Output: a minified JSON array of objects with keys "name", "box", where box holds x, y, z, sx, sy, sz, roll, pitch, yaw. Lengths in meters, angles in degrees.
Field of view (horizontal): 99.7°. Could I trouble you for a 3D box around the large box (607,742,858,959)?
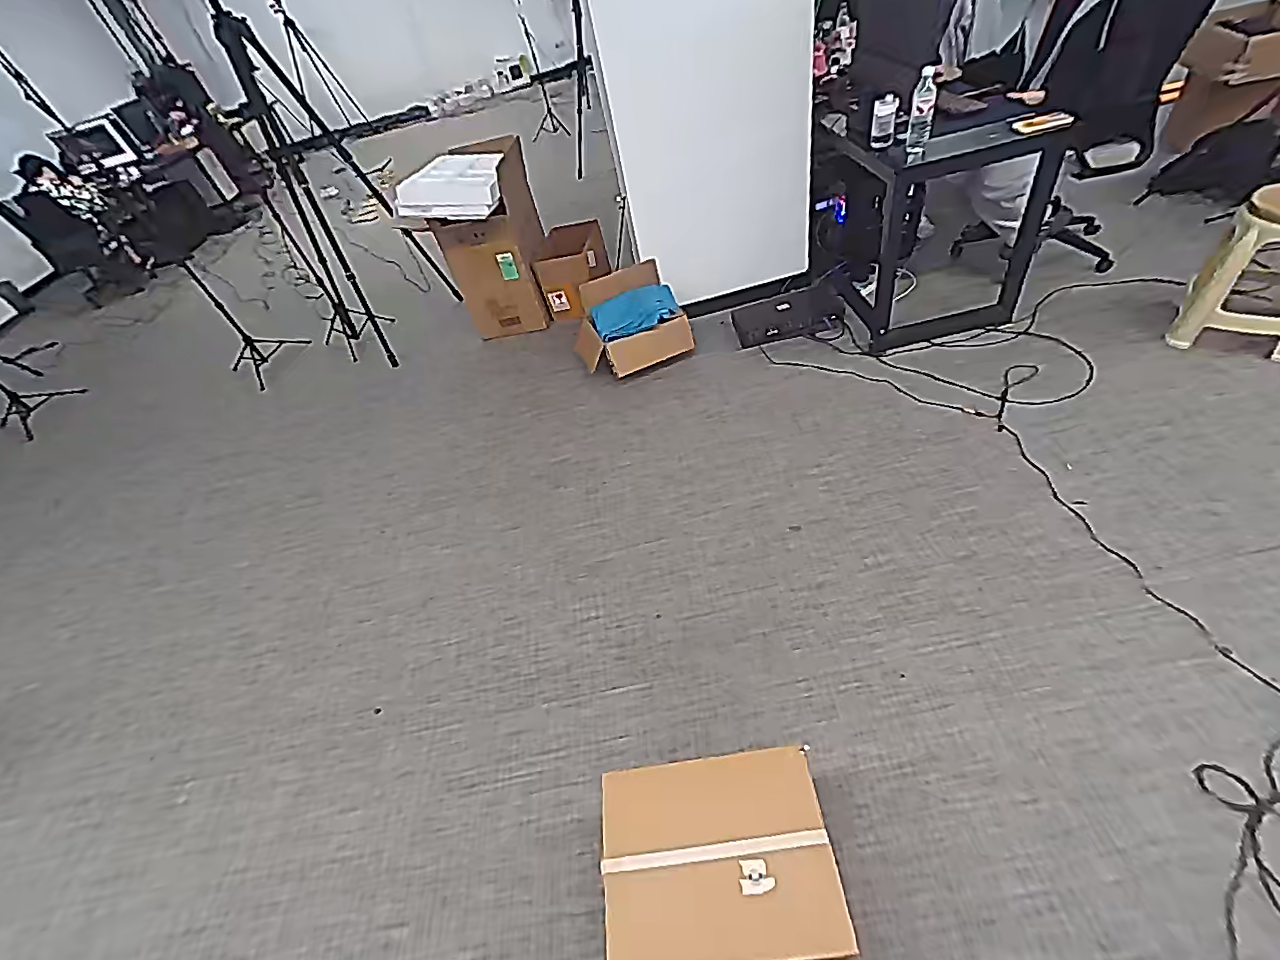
[{"name":"large box","box":[0.166,0.761,1.071,0.408,0.320,0.320,-11,46,5]}]
